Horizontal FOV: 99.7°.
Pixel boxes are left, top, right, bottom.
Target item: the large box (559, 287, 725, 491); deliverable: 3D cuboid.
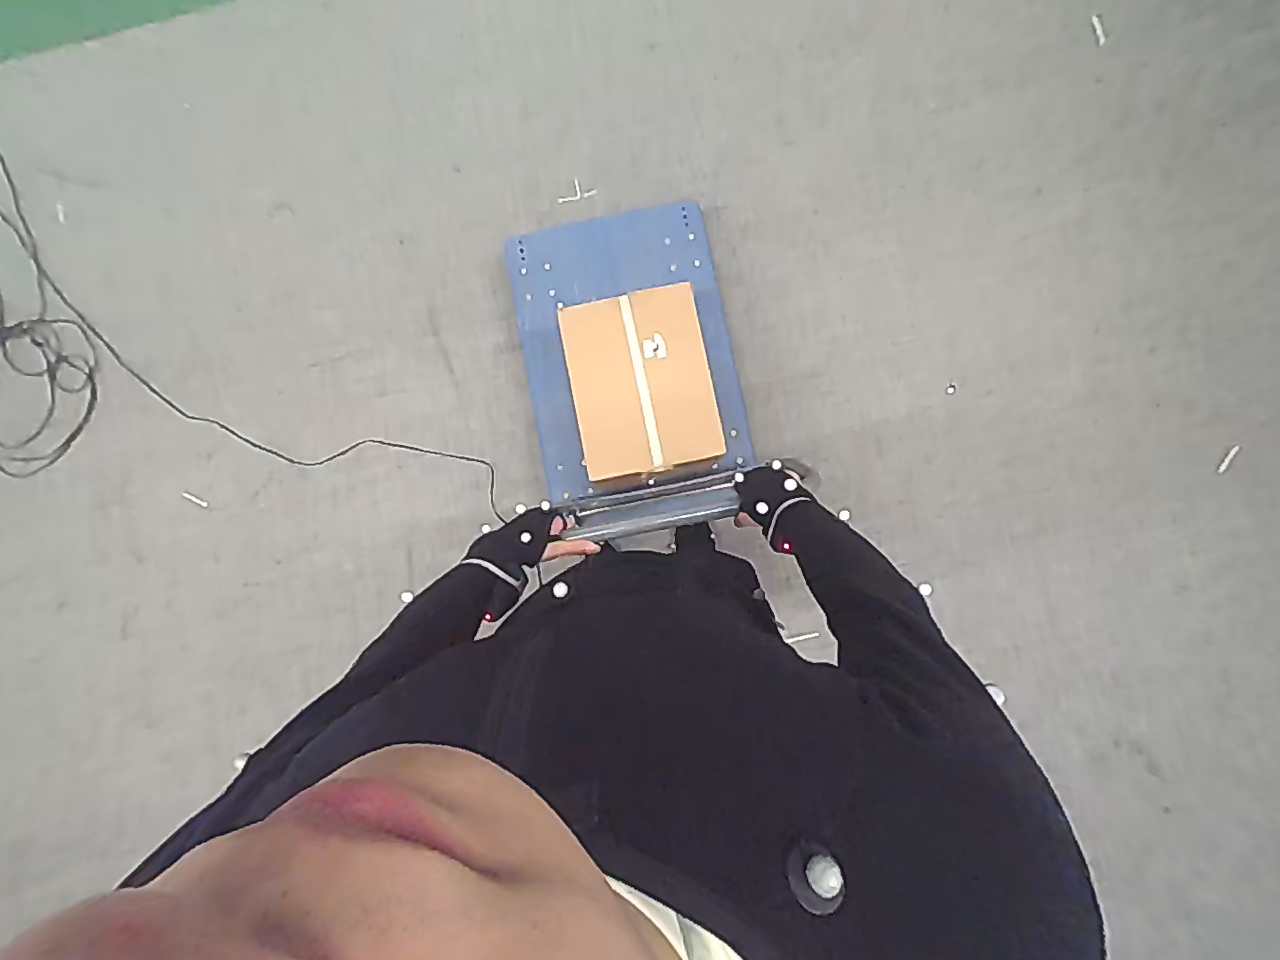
[{"bbox_3d":[0.009,-0.207,1.369,0.320,0.320,0.408,-11,84,1],"label":"large box"}]
